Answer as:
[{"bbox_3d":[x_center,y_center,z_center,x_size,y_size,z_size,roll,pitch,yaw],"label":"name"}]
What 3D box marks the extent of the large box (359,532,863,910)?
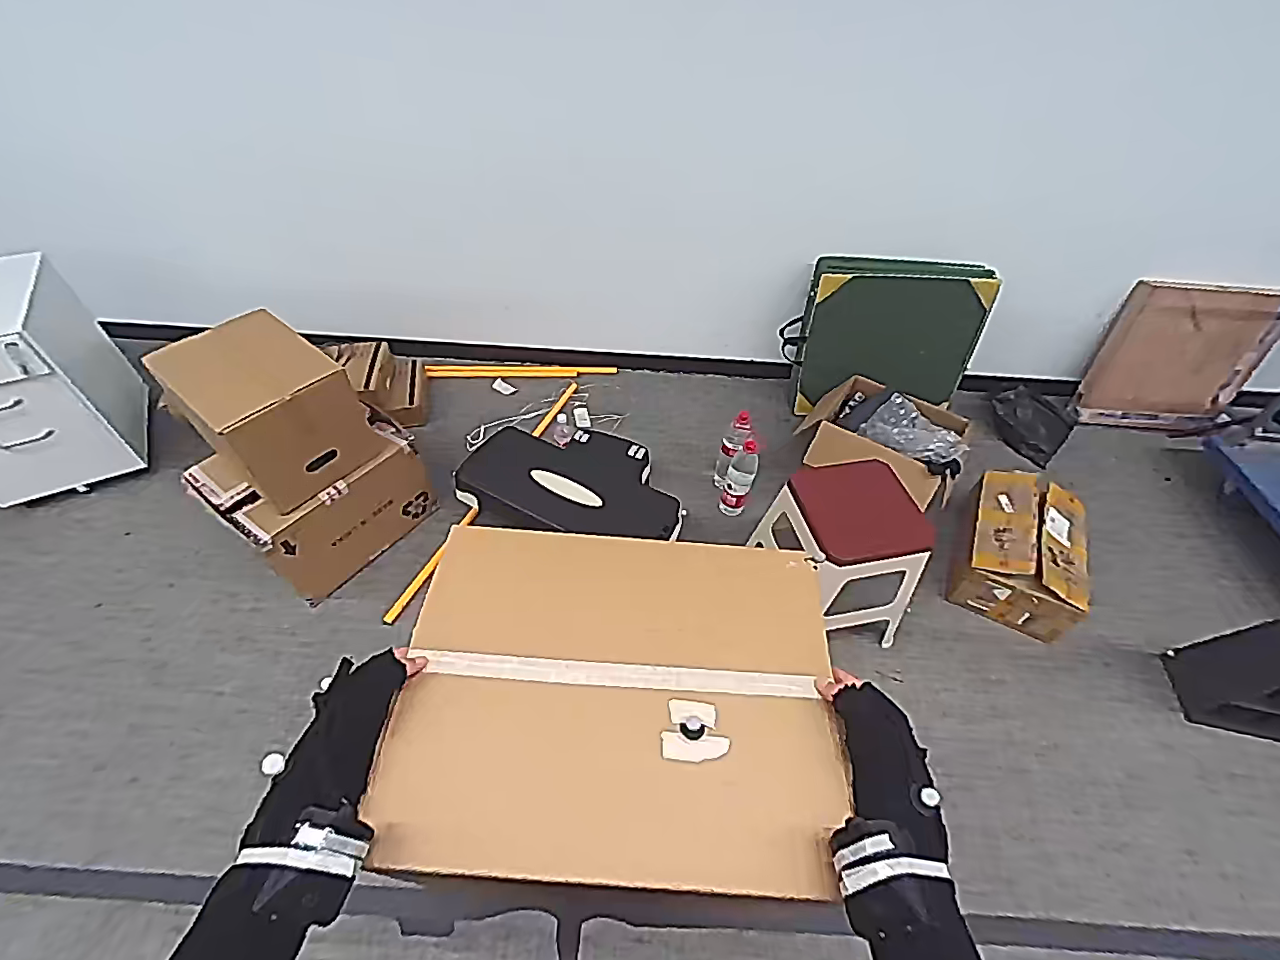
[{"bbox_3d":[-0.025,0.285,0.626,0.408,0.320,0.320,5,50,-1],"label":"large box"}]
